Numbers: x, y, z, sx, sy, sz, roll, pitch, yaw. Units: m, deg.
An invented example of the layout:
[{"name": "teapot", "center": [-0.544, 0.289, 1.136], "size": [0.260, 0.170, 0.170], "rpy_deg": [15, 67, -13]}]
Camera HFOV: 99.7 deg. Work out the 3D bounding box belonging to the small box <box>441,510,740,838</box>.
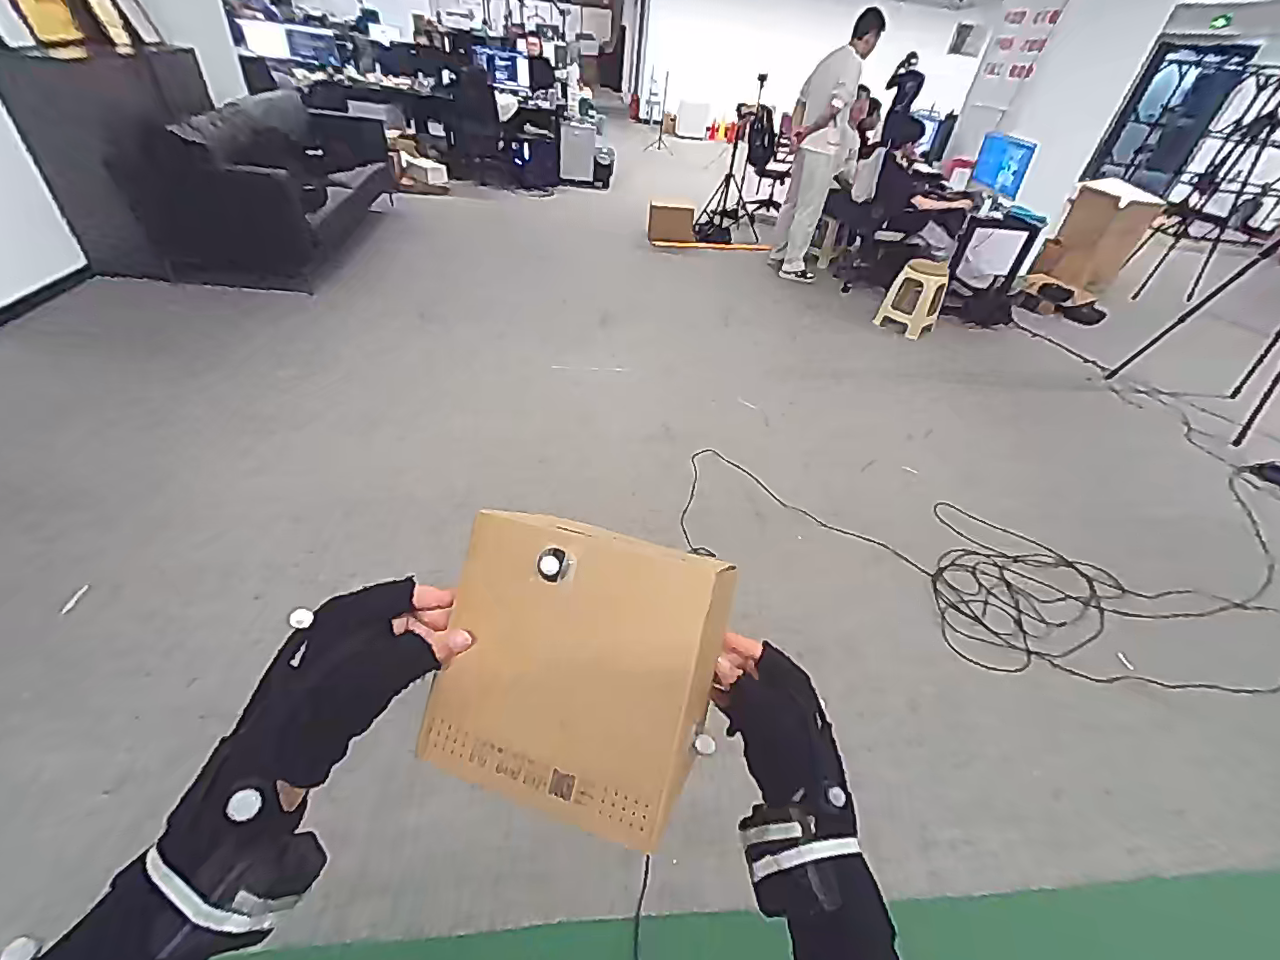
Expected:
[{"name": "small box", "center": [-0.026, 0.131, 0.423], "size": [0.168, 0.176, 0.179], "rpy_deg": [12, -5, 16]}]
